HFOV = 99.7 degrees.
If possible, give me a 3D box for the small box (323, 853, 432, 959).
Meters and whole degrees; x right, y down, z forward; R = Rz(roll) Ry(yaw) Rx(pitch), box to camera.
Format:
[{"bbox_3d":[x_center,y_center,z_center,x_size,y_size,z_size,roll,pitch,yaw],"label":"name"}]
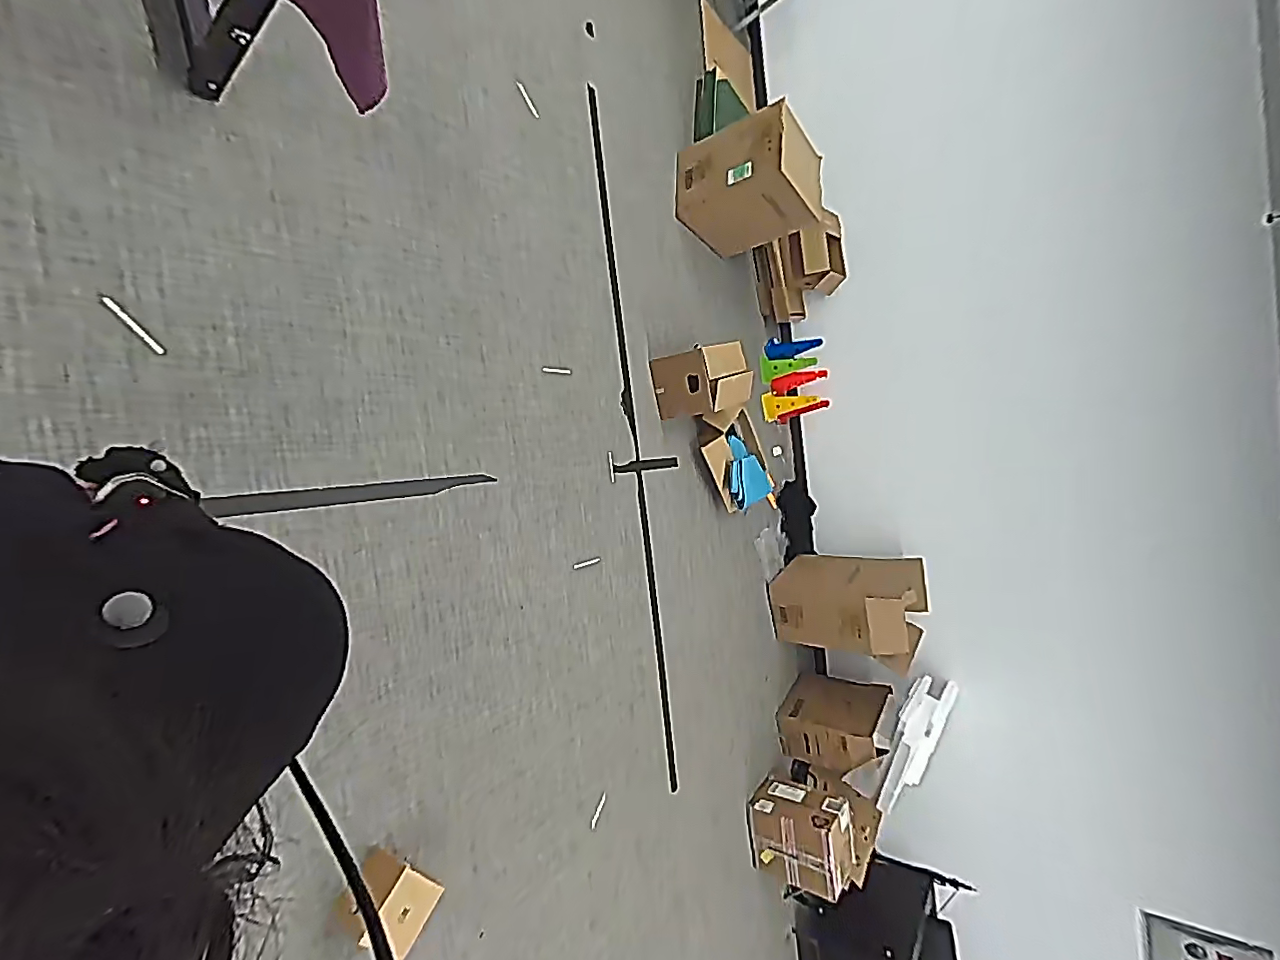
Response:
[{"bbox_3d":[-0.701,1.136,1.432,0.168,0.176,0.179,60,43,-31],"label":"small box"}]
